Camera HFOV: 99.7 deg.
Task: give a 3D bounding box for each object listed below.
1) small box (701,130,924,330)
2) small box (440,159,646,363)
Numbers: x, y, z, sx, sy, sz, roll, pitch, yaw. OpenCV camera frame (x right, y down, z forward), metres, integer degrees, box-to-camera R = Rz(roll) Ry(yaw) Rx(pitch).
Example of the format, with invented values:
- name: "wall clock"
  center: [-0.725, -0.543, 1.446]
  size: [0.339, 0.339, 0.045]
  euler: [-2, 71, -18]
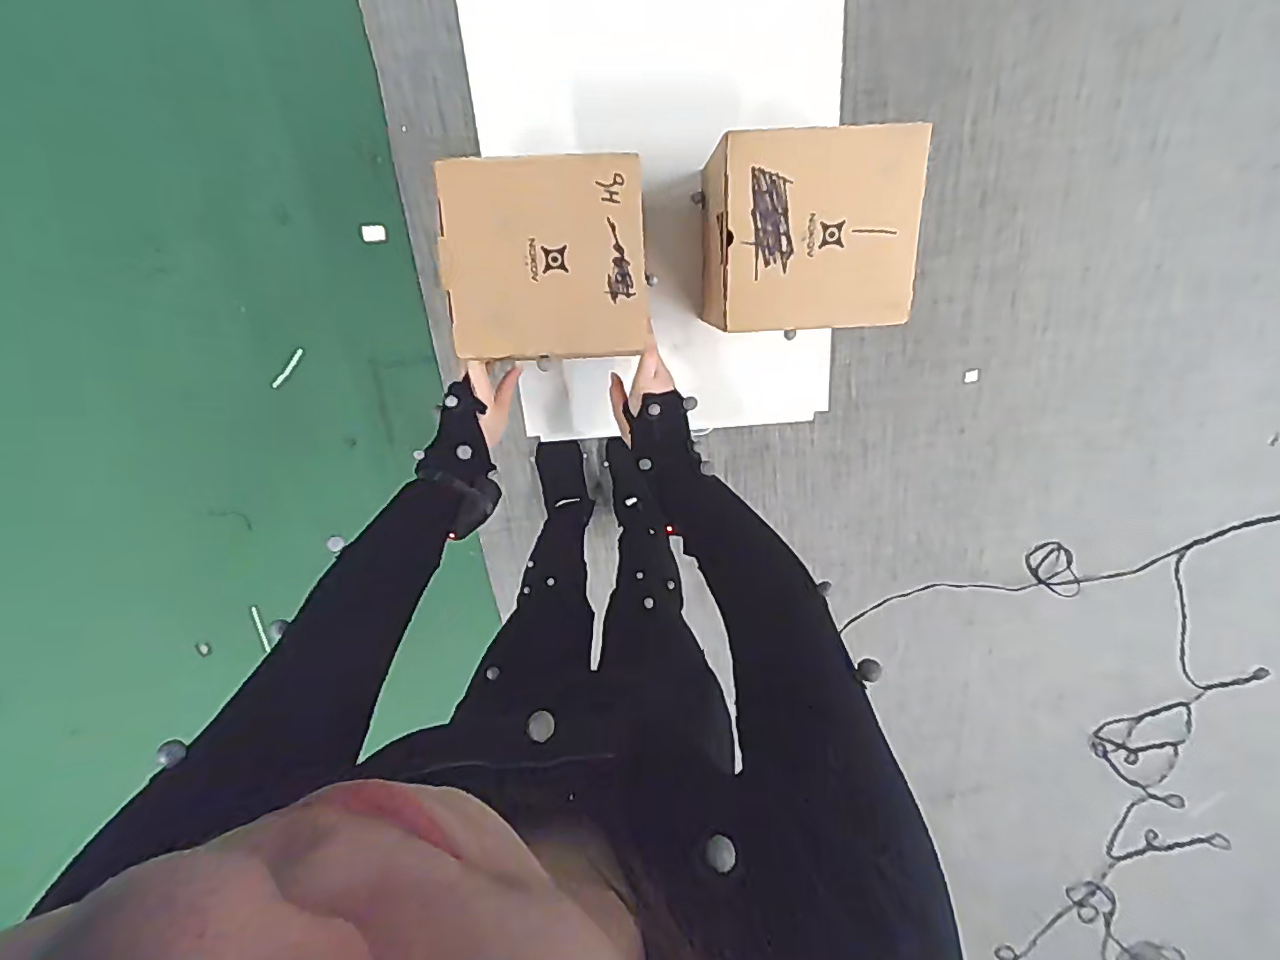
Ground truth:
- name: "small box"
  center: [0.158, -0.247, 0.564]
  size: [0.179, 0.176, 0.168]
  euler: [-3, 110, -1]
- name: "small box"
  center: [-0.086, -0.208, 0.557]
  size: [0.179, 0.176, 0.168]
  euler: [-3, 102, -2]
